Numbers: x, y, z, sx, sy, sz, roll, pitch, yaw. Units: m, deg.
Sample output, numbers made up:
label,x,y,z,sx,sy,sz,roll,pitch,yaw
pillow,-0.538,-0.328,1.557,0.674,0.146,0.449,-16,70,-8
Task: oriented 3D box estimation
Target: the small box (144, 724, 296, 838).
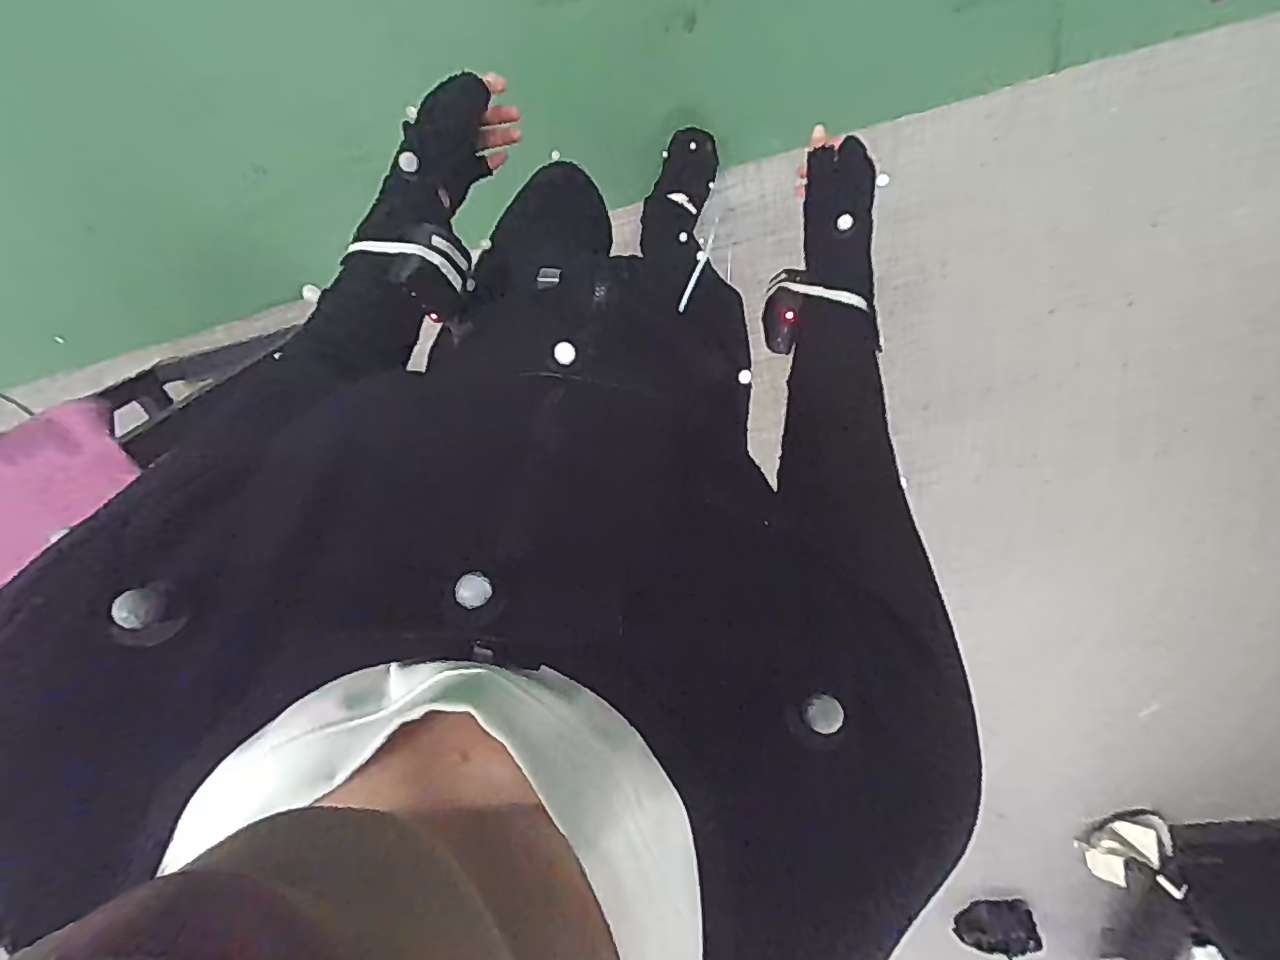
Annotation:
label,x,y,z,sx,sy,sz,roll,pitch,yaw
small box,-0.907,0.660,1.195,0.179,0.176,0.168,-9,123,10
